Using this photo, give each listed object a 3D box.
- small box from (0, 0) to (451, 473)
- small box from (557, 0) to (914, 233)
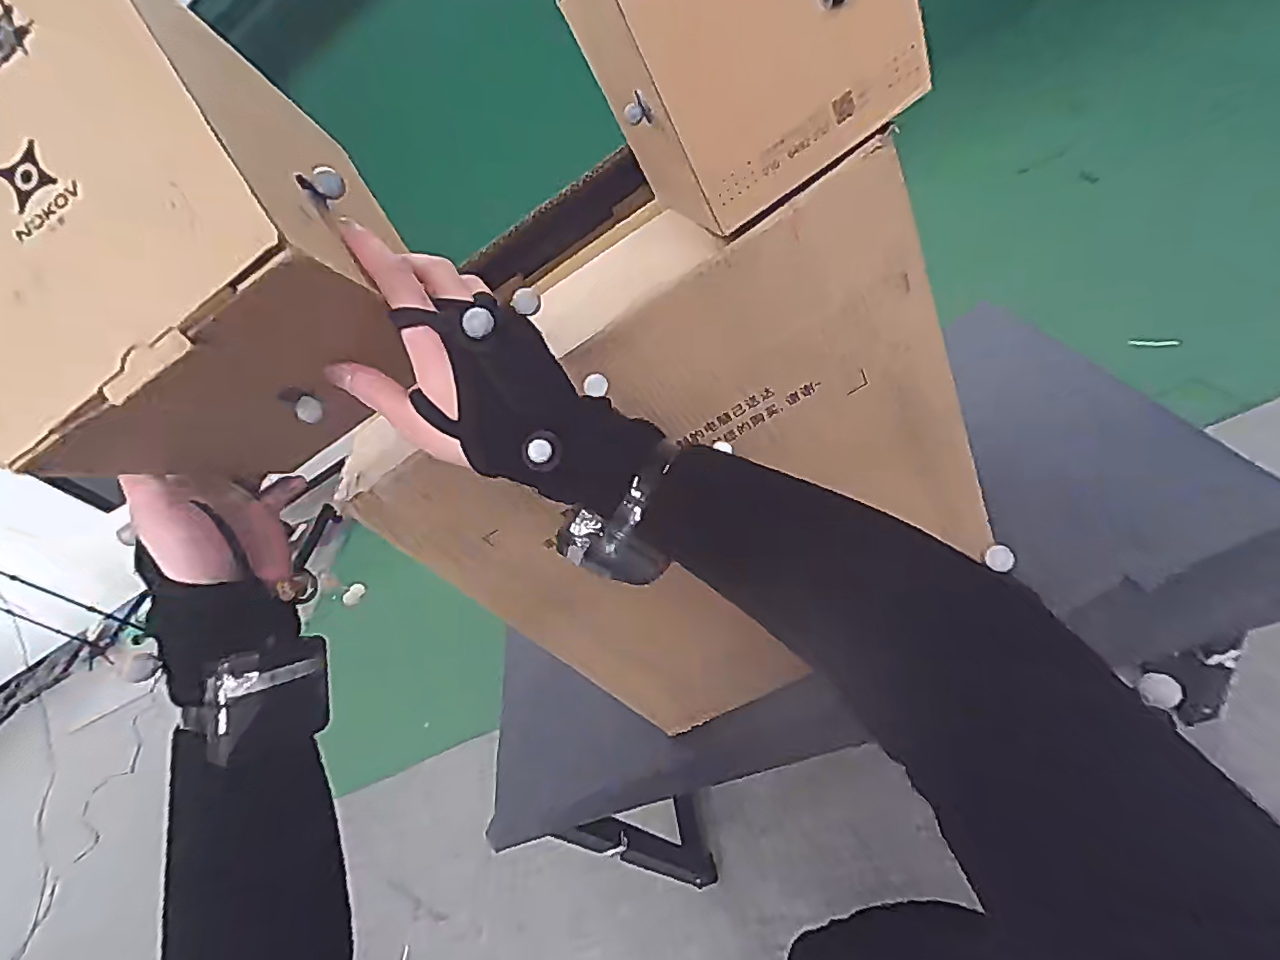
[{"bbox_3d":[-0.245,-0.120,0.312,0.168,0.179,0.176,-33,-3,6],"label":"small box"},{"bbox_3d":[0.064,-0.307,0.388,0.168,0.176,0.179,-32,37,6],"label":"small box"}]
